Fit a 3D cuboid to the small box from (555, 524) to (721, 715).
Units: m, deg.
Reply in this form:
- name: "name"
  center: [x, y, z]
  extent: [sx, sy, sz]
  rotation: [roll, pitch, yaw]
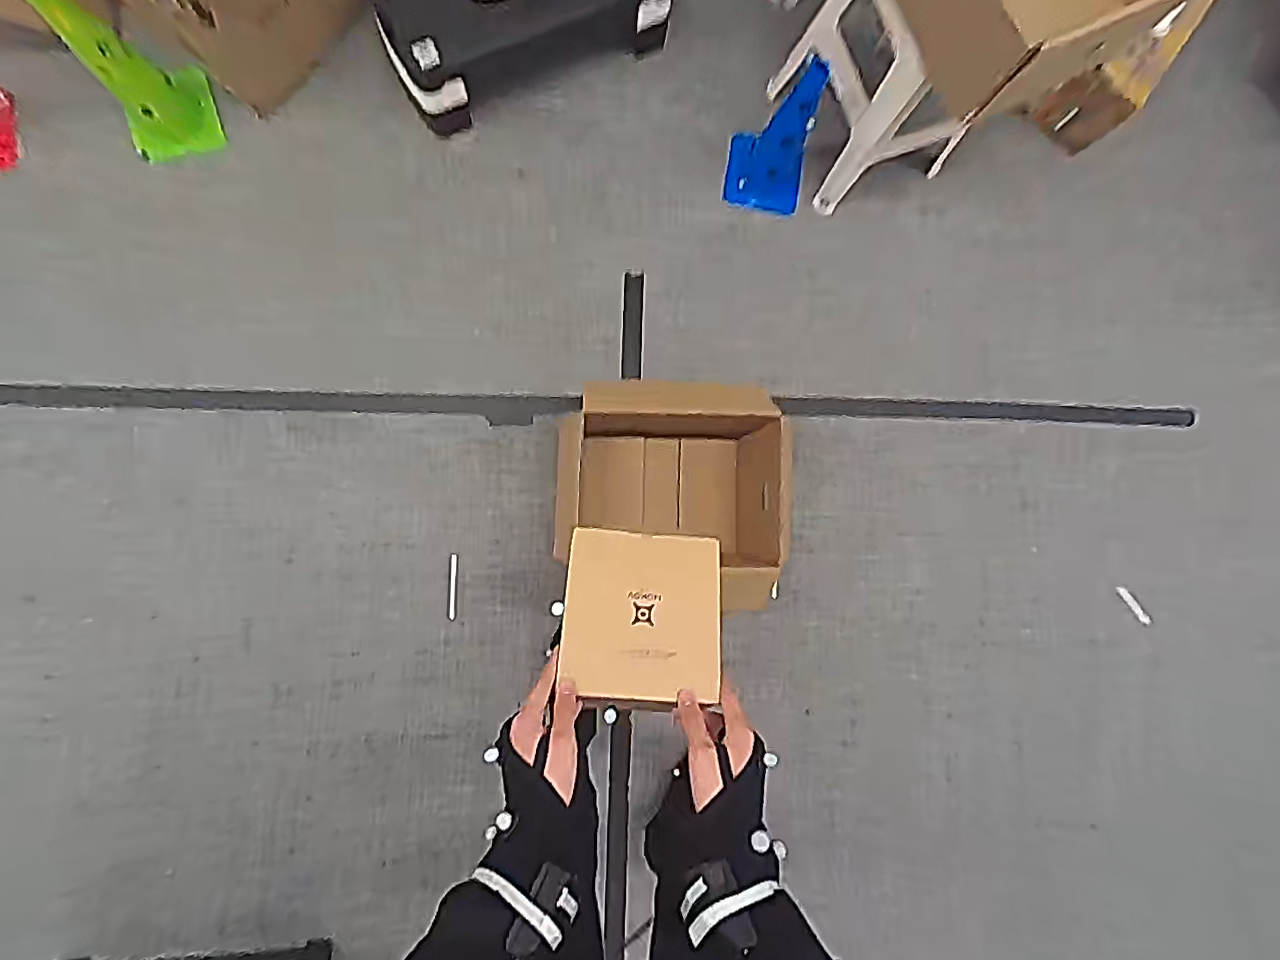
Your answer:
- name: "small box"
  center: [-0.007, 0.169, 0.631]
  extent: [0.168, 0.176, 0.179]
  rotation: [6, 63, -5]
